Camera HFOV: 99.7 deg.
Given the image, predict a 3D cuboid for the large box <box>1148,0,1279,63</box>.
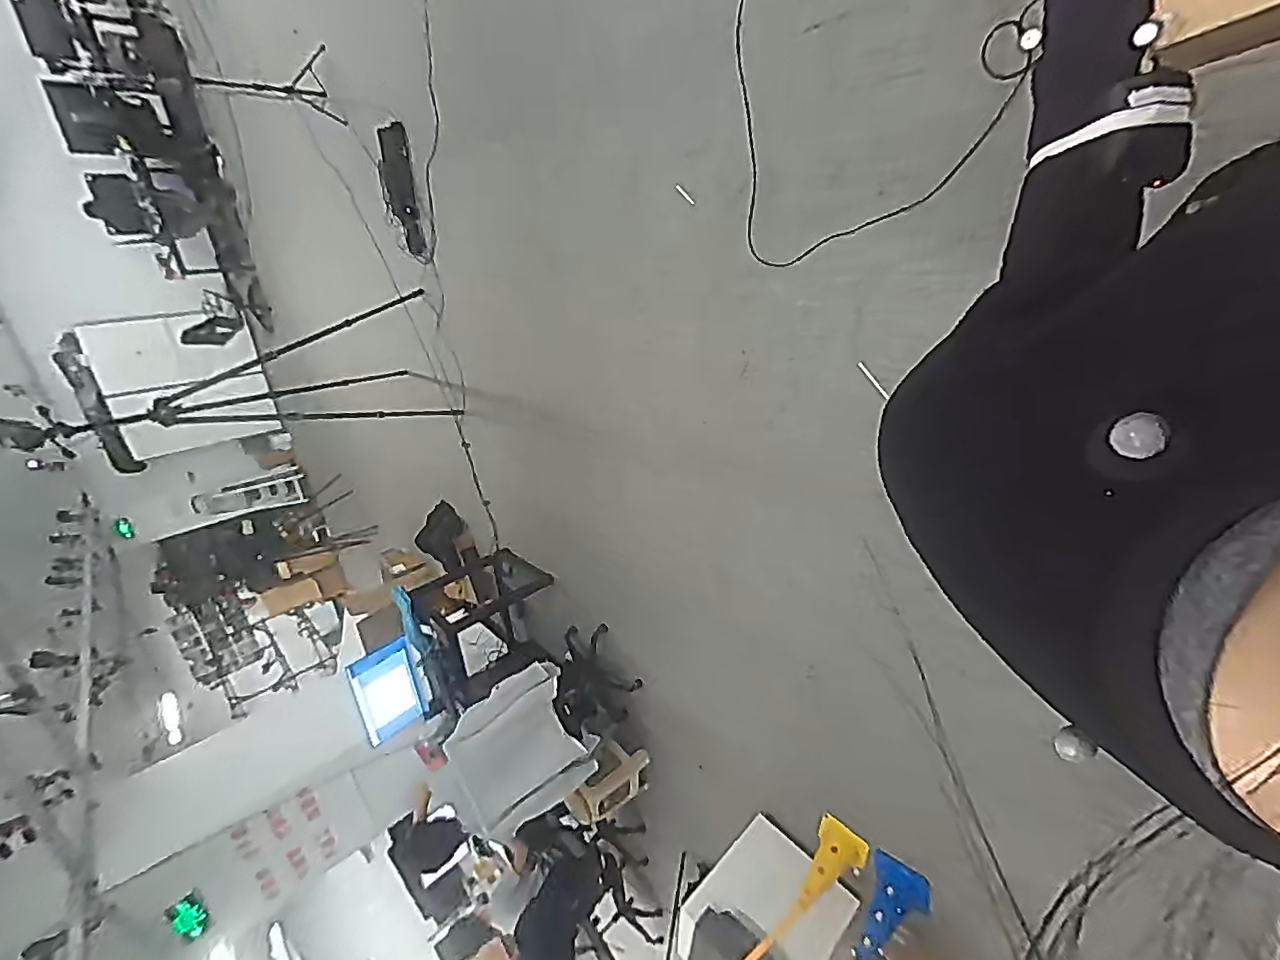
[{"bbox_3d":[0.556,-0.503,0.288,0.408,0.320,0.320,3,116,45],"label":"large box"}]
